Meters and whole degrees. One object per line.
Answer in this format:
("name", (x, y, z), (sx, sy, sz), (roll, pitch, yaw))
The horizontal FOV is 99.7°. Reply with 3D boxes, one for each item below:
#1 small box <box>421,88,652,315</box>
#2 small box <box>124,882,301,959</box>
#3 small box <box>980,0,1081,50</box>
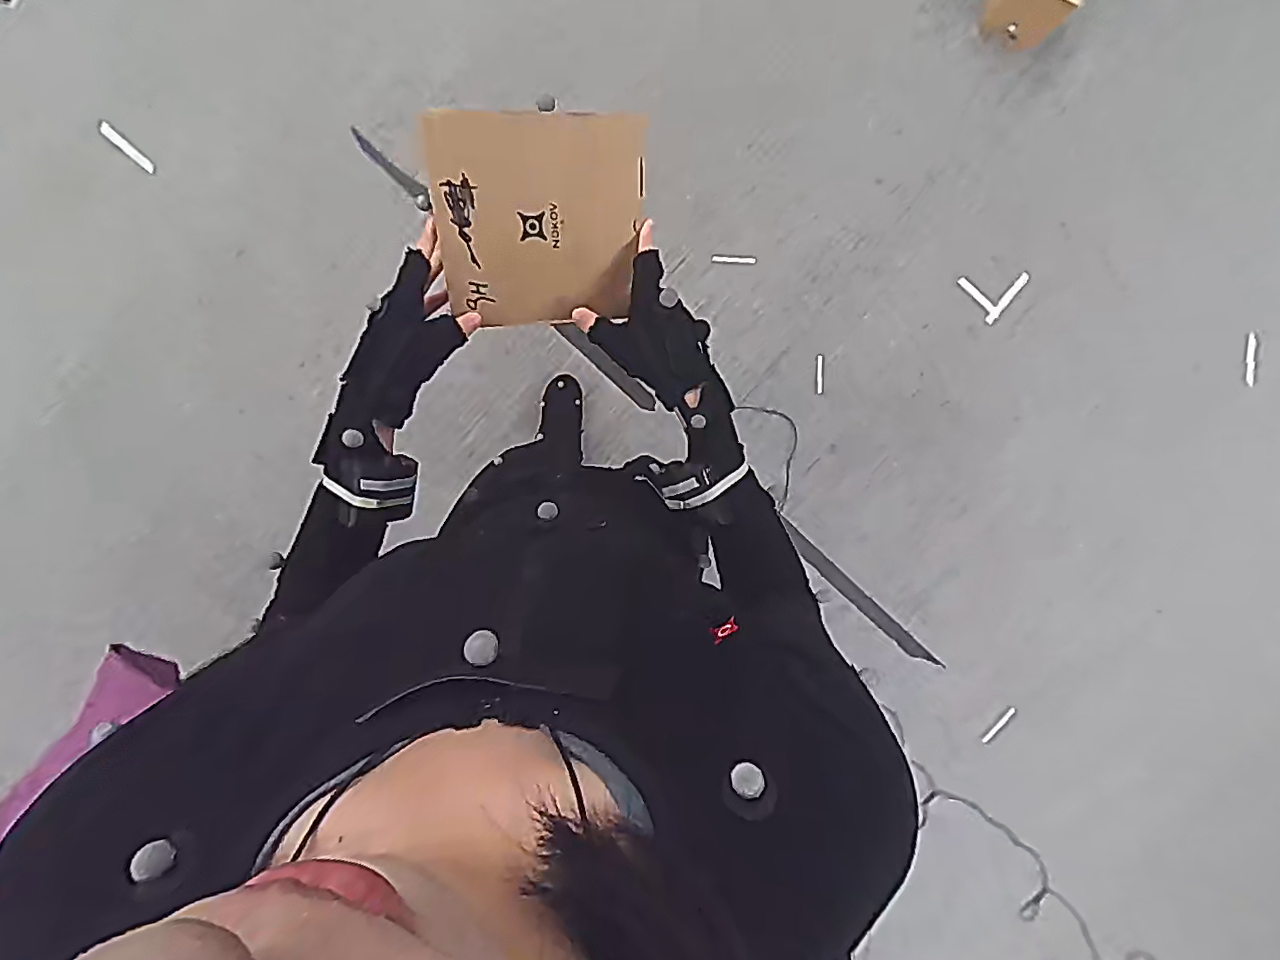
("small box", (-0.096, -0.264, 0.513), (0.179, 0.176, 0.168), (-6, 123, -12))
("small box", (-0.605, 0.684, 0.710), (0.179, 0.176, 0.168), (44, 93, -8))
("small box", (1.021, -1.272, 1.385), (0.168, 0.176, 0.179), (22, 94, -5))
